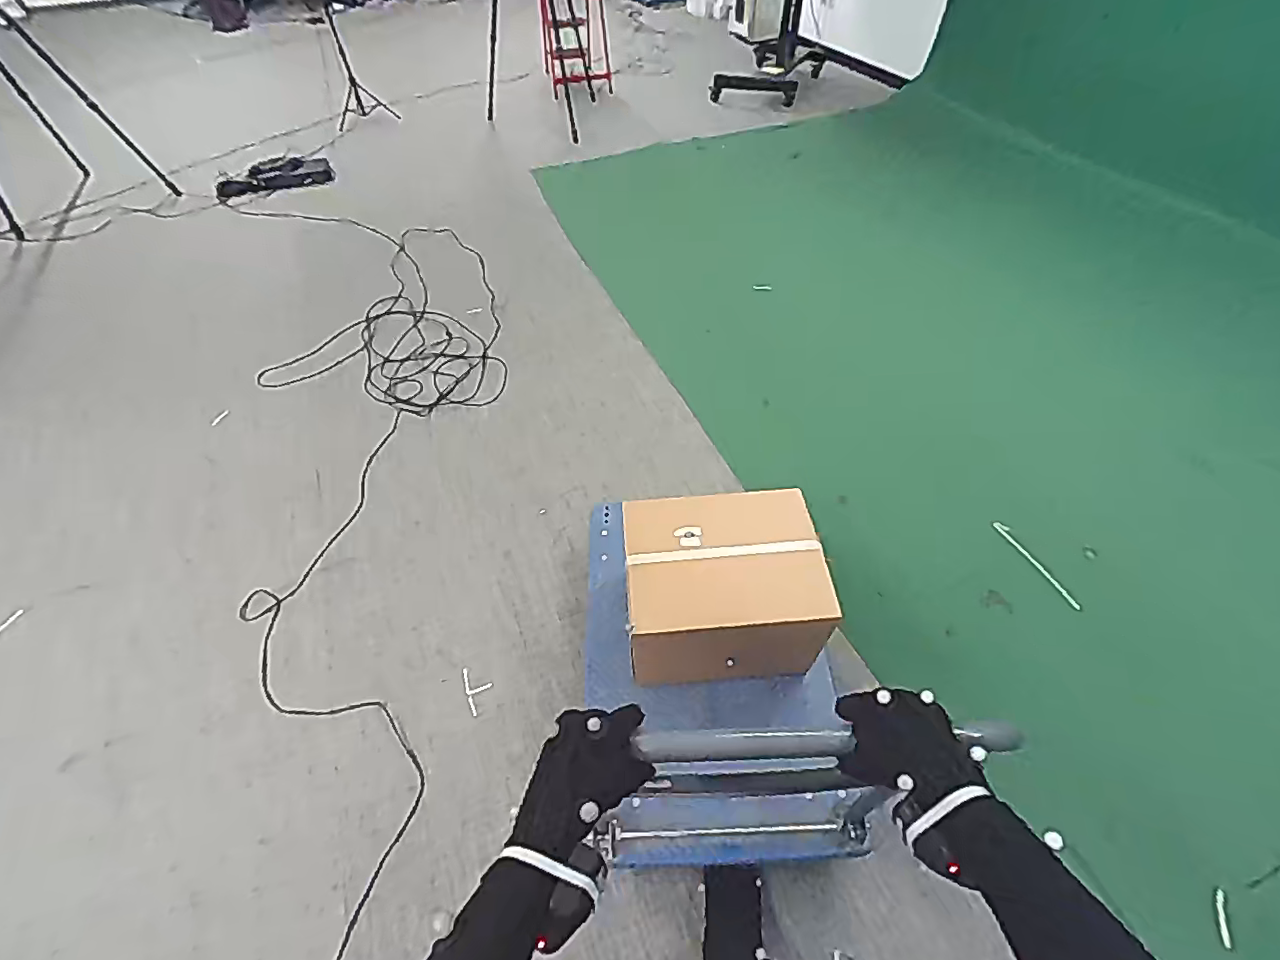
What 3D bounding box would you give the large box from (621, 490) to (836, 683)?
[{"bbox_3d":[0.174,0.250,1.237,0.408,0.320,0.320,-5,51,-2],"label":"large box"}]
